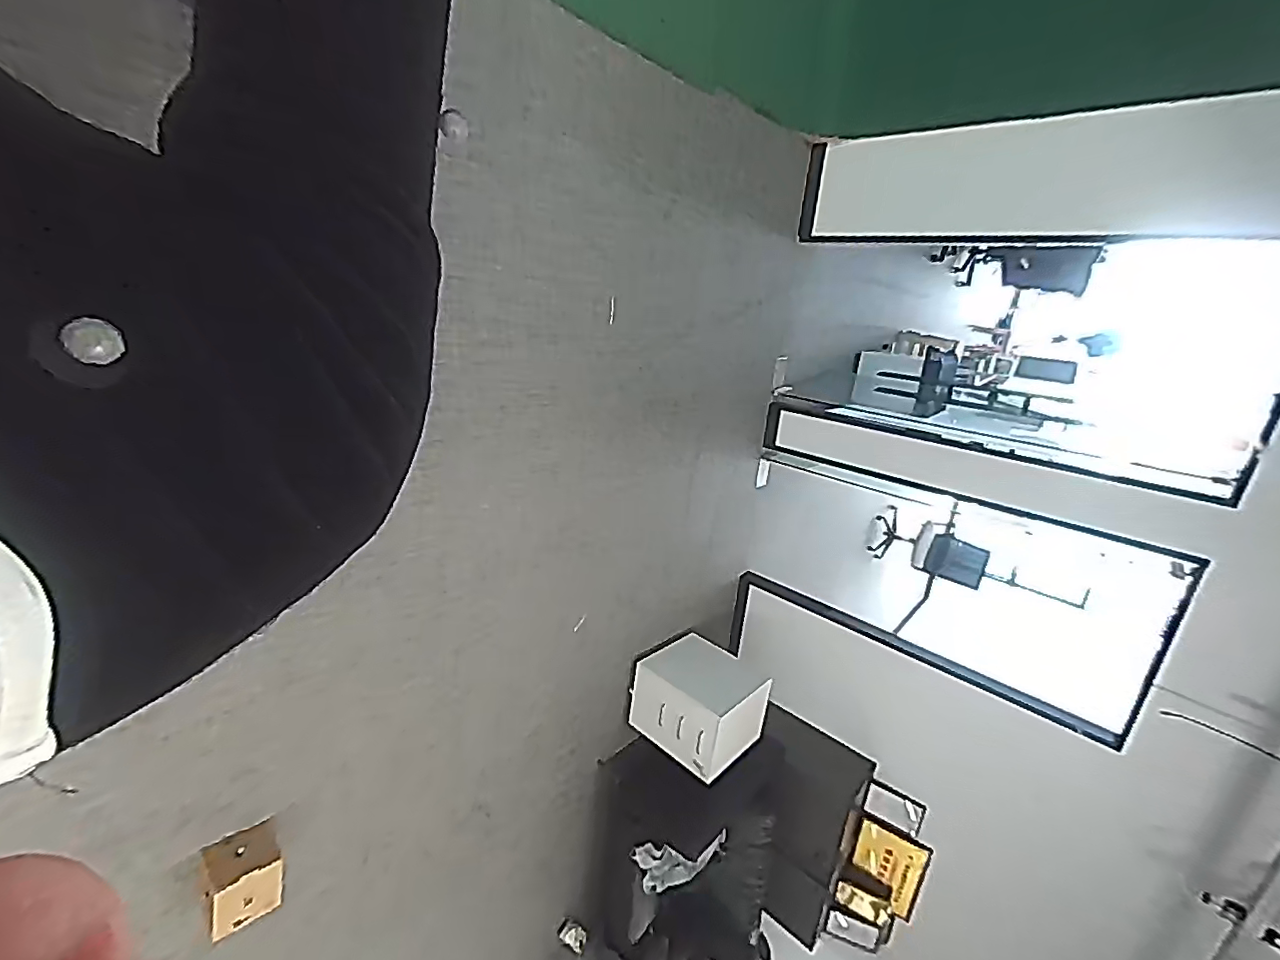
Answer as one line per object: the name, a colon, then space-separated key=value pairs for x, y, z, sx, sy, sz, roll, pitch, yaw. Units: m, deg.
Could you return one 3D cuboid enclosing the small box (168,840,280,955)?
small box: x=-1.183 y=1.177 z=1.538 sx=0.179 sy=0.176 sz=0.168 roll=-40 pitch=135 yaw=-35
